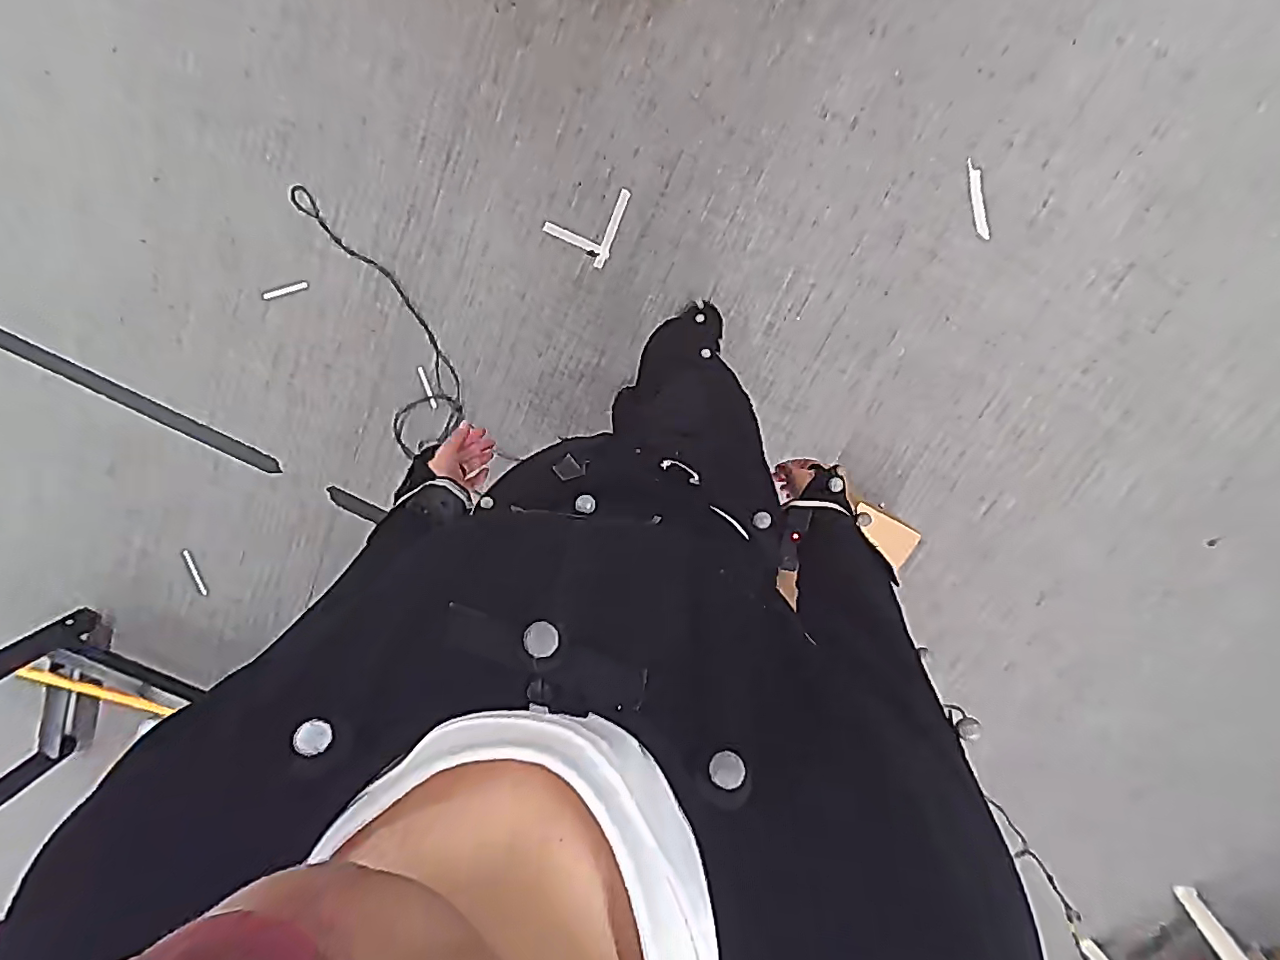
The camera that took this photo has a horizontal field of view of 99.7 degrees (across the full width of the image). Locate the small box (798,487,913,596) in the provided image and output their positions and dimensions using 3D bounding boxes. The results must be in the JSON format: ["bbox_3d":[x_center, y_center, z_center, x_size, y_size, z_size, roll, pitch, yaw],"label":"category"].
[{"bbox_3d":[0.506,0.140,1.303,0.168,0.176,0.179,29,104,-5],"label":"small box"}]
